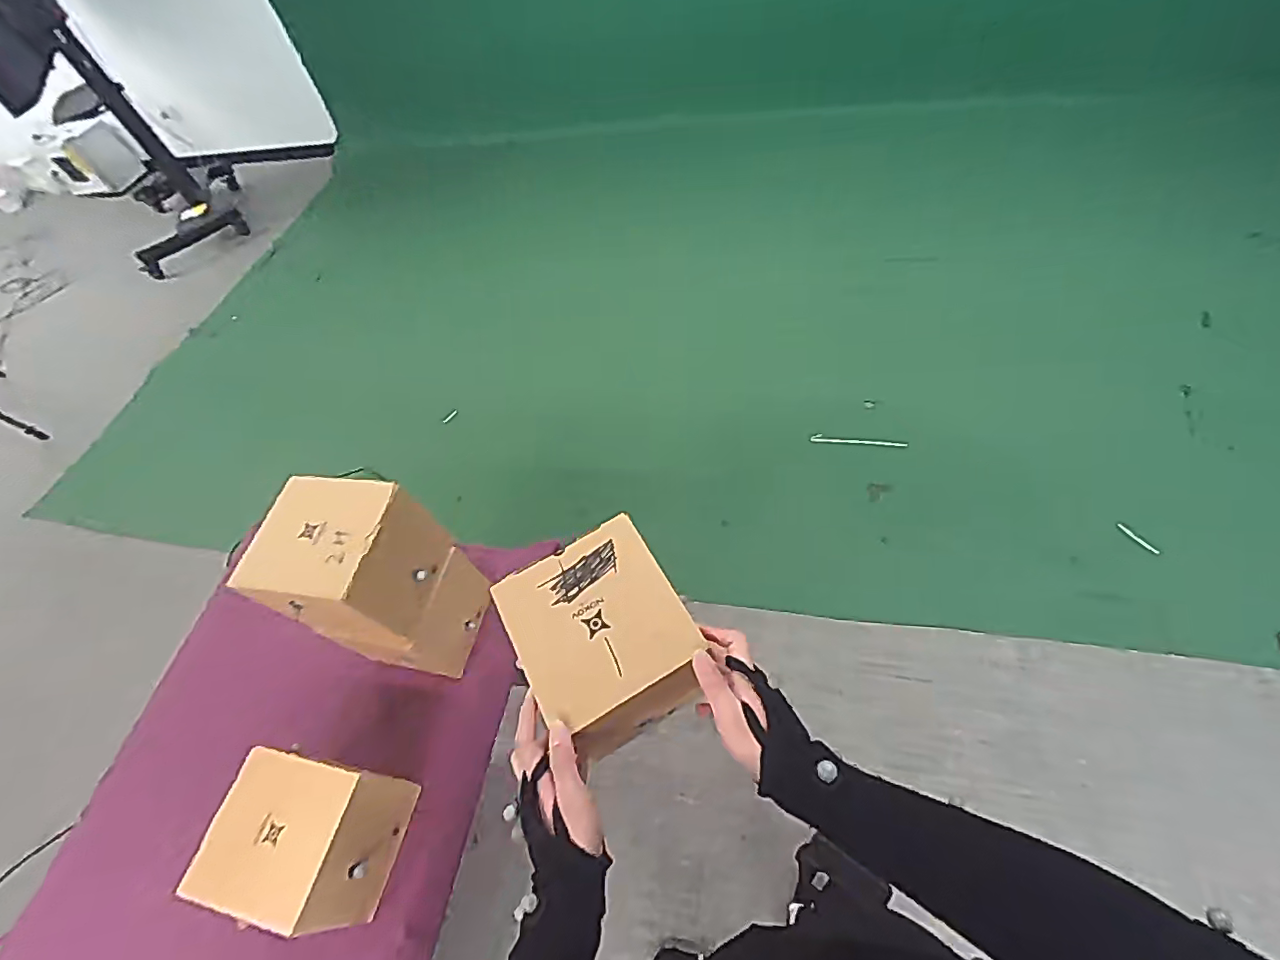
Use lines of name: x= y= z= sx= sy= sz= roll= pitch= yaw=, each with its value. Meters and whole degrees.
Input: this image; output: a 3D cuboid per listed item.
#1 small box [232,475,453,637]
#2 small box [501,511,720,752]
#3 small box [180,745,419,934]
small box: x=-0.401 y=0.110 z=0.762 sx=0.179 sy=0.176 sz=0.168 roll=4 pitch=59 yaw=14
small box: x=-0.025 y=0.173 z=0.599 sx=0.168 sy=0.176 sz=0.179 roll=-29 pitch=58 yaw=-8
small box: x=-0.436 y=0.473 z=0.729 sx=0.179 sy=0.176 sz=0.168 roll=5 pitch=58 yaw=15
